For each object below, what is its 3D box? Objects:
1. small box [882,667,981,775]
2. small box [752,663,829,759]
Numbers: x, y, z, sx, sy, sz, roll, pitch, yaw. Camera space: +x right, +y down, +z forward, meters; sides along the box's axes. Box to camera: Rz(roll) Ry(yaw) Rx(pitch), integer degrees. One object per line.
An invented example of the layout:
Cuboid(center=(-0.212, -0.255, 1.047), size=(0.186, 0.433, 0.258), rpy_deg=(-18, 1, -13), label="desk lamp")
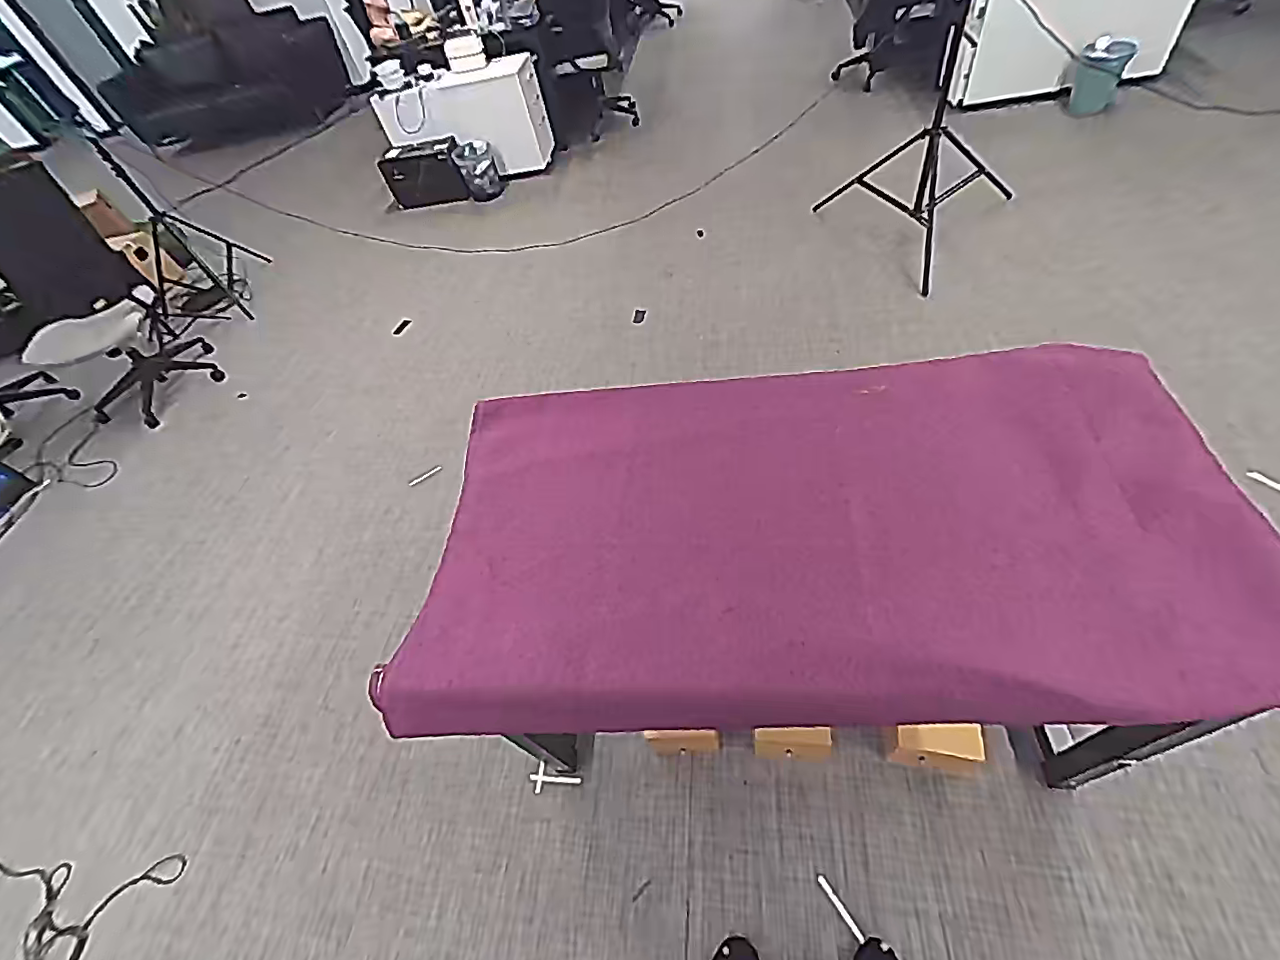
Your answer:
Cuboid(center=(0.660, 0.557, 1.243), size=(0.168, 0.176, 0.179), rpy_deg=(4, 53, 16), label="small box")
Cuboid(center=(0.358, 0.560, 1.306), size=(0.168, 0.176, 0.179), rpy_deg=(-1, 51, 11), label="small box")
